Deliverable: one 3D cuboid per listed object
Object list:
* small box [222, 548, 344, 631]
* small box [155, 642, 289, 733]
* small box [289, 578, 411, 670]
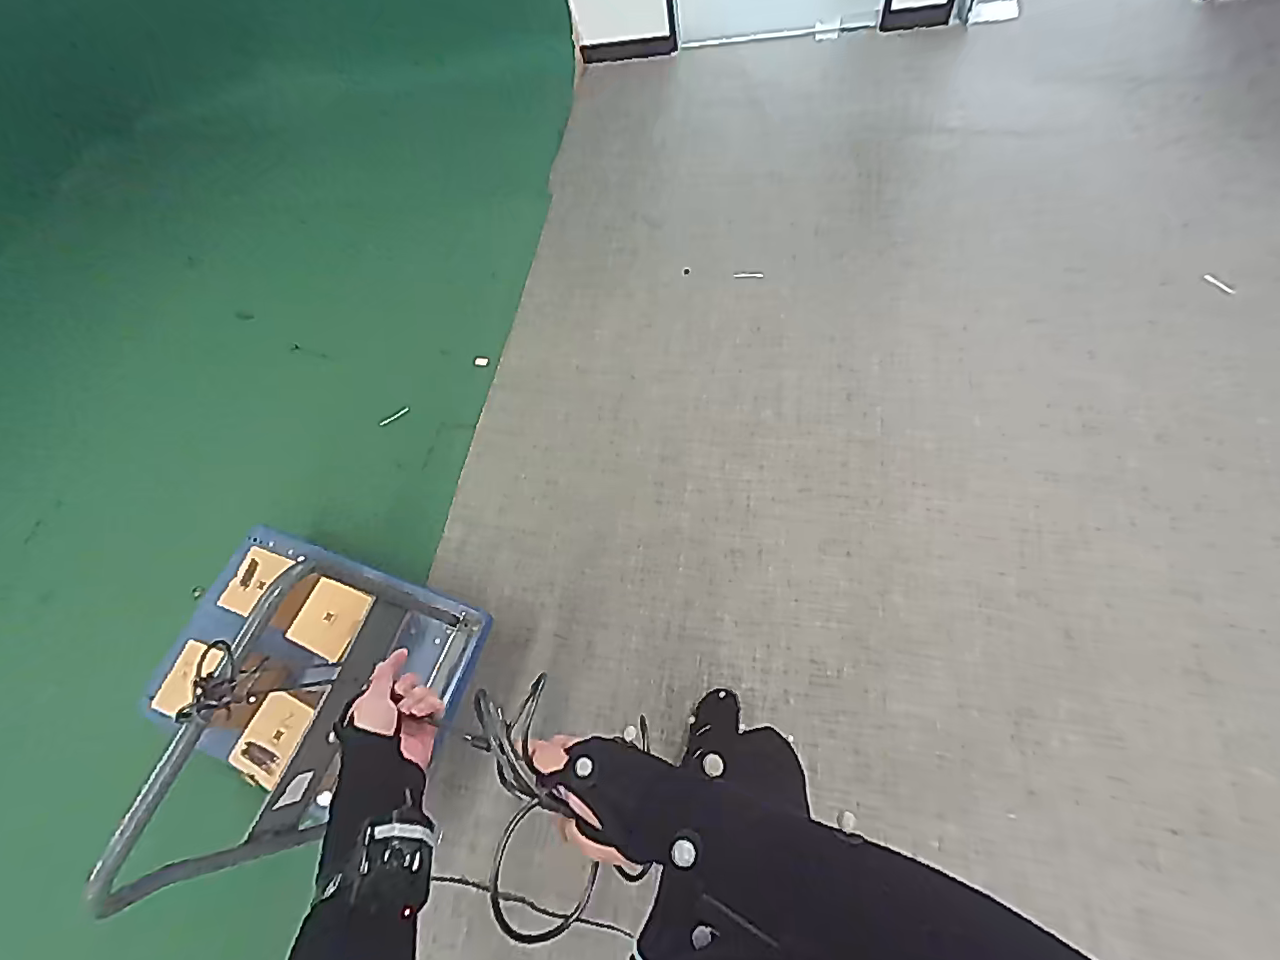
[{"bbox_3d":[-0.957,0.306,1.463,0.179,0.176,0.168,15,70,16],"label":"small box"},{"bbox_3d":[-1.052,0.529,1.379,0.179,0.176,0.168,13,68,16],"label":"small box"},{"bbox_3d":[-0.737,0.376,1.390,0.179,0.176,0.168,18,70,17],"label":"small box"}]
